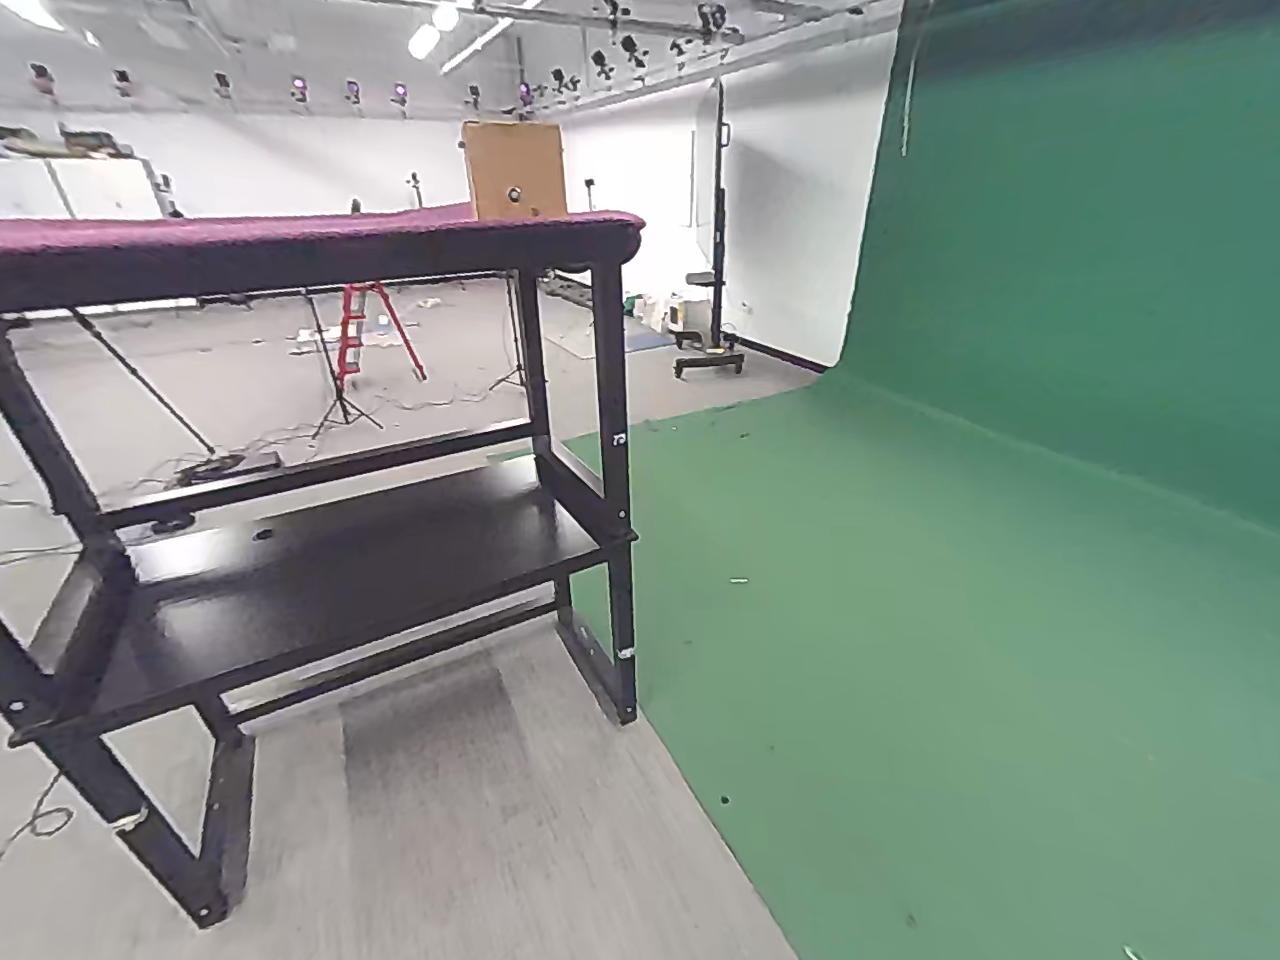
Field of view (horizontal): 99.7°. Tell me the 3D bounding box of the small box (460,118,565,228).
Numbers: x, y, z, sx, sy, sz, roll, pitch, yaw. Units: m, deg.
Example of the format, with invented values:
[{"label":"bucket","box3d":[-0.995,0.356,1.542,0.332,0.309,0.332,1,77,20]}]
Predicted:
[{"label":"small box","box3d":[-0.244,-0.580,1.029,0.168,0.176,0.179,-10,32,-16]}]
